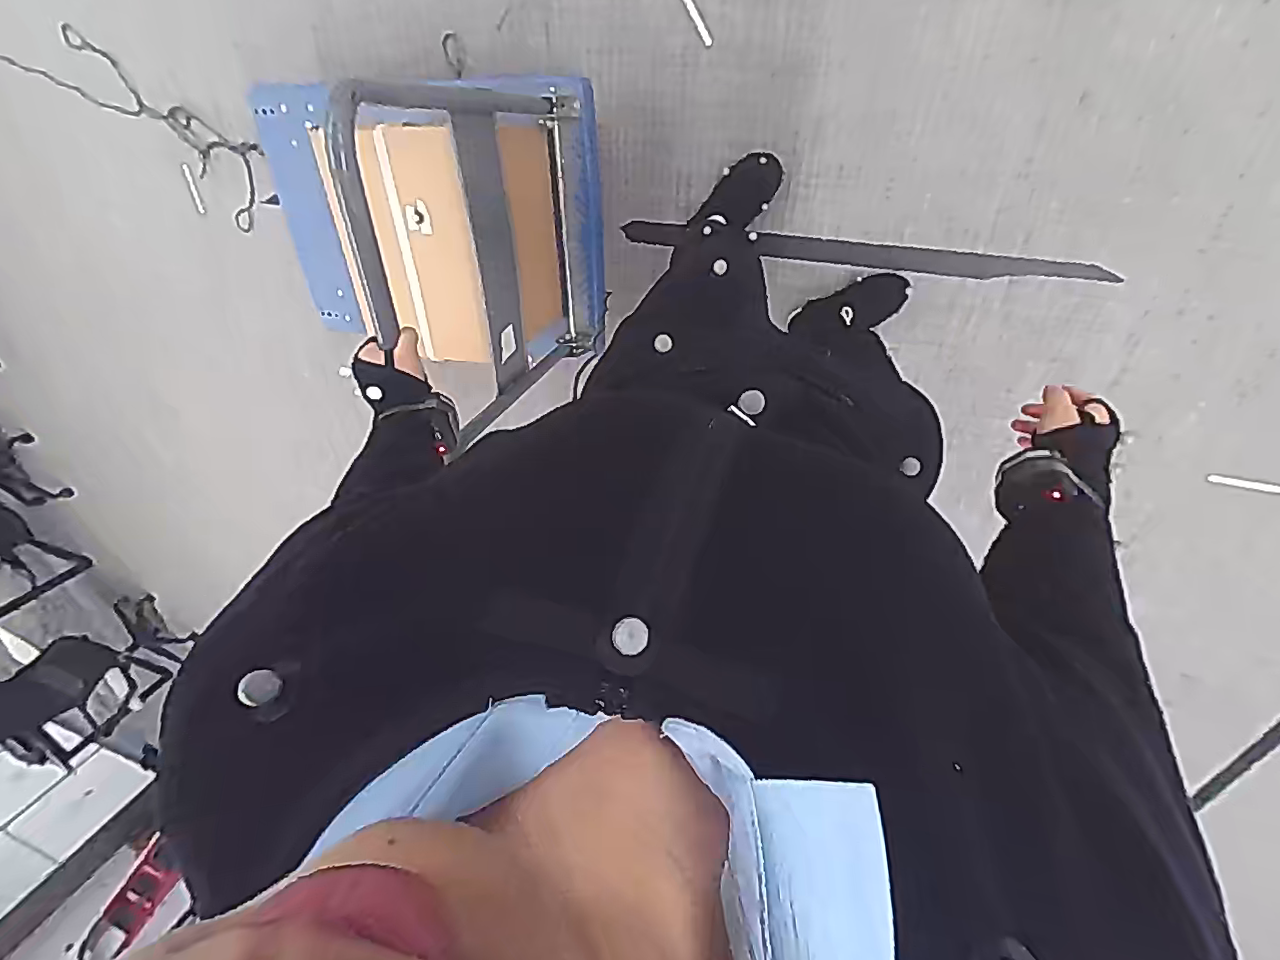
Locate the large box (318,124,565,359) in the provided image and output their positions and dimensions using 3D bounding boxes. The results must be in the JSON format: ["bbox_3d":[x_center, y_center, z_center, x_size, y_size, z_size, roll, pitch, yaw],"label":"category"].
[{"bbox_3d":[-0.377,-0.505,1.142,0.320,0.320,0.408,9,124,15],"label":"large box"}]
